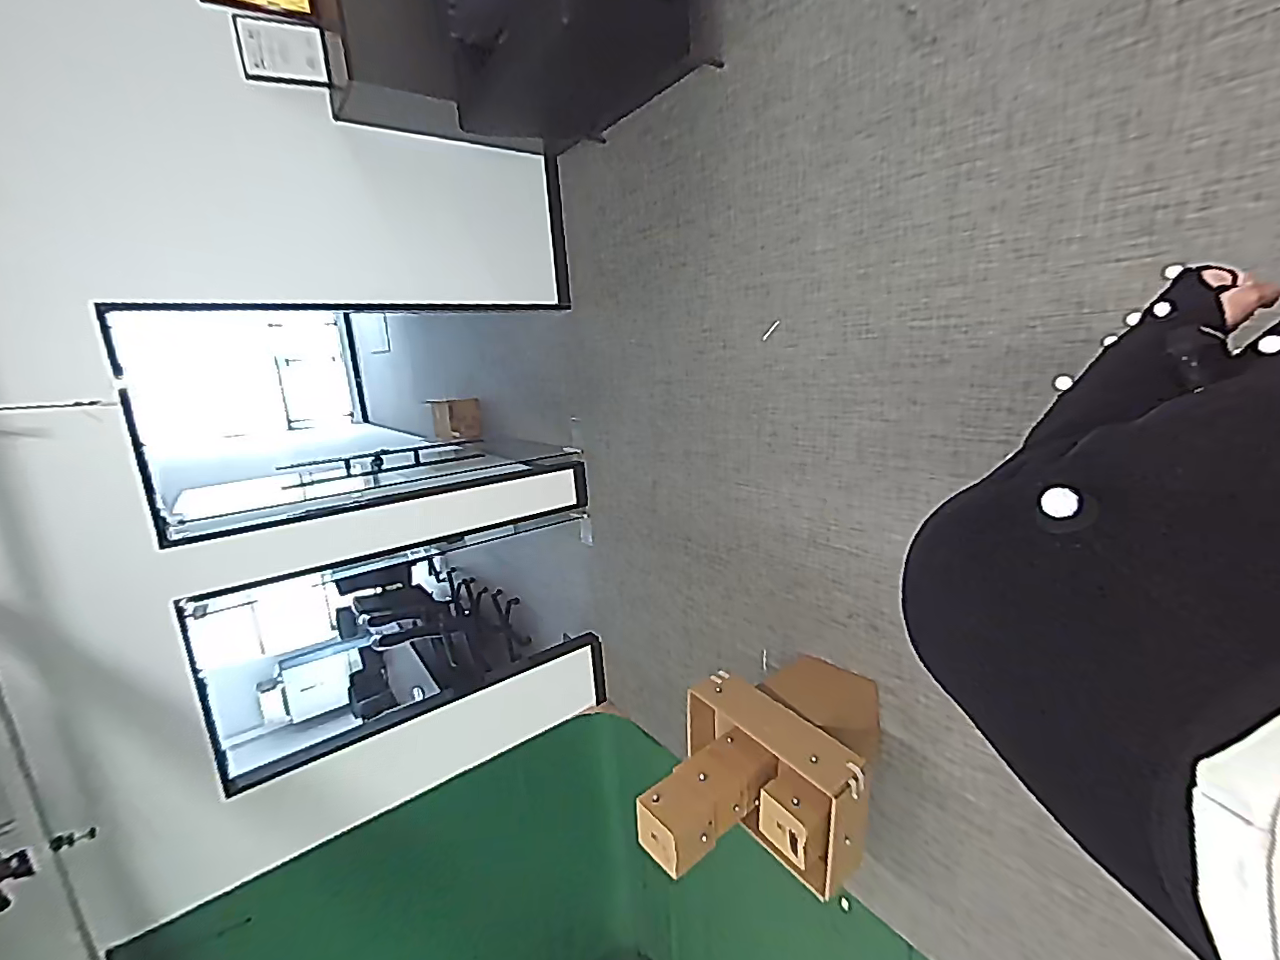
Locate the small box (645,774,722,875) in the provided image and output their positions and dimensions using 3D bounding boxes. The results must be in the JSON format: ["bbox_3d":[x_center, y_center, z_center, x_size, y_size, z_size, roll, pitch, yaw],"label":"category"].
[{"bbox_3d":[0.134,1.047,1.666,0.179,0.176,0.168,14,112,50],"label":"small box"}]

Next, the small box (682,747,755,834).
[{"bbox_3d":[0.255,1.014,1.774,0.179,0.176,0.168,16,113,49],"label":"small box"}]

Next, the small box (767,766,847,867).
[{"bbox_3d":[0.520,1.033,1.682,0.179,0.176,0.168,20,116,53],"label":"small box"}]
